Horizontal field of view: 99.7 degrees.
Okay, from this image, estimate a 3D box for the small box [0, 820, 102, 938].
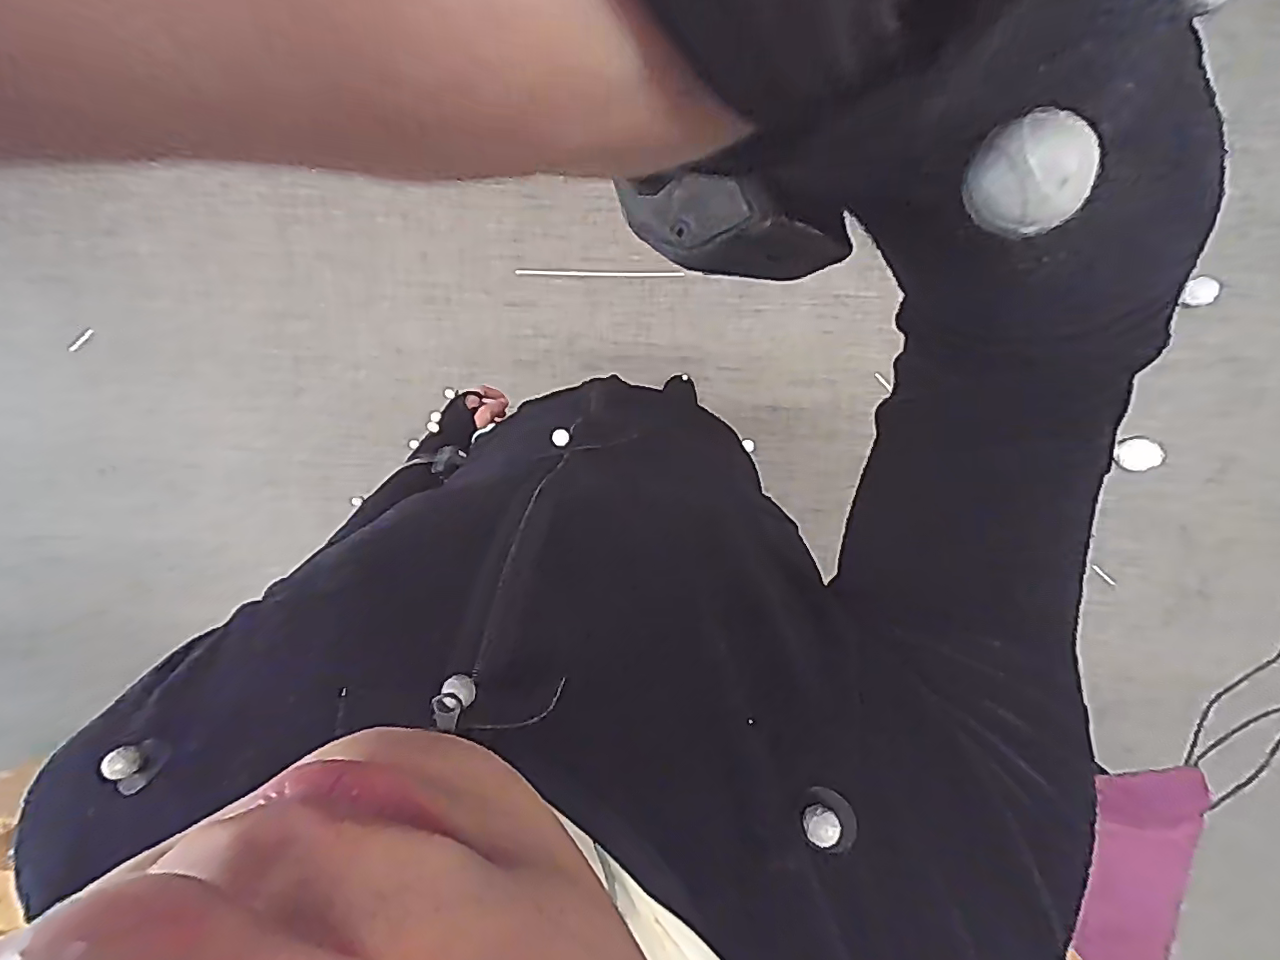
[{"bbox_3d":[-1.498,0.975,1.334,0.179,0.176,0.168,3,99,0],"label":"small box"}]
